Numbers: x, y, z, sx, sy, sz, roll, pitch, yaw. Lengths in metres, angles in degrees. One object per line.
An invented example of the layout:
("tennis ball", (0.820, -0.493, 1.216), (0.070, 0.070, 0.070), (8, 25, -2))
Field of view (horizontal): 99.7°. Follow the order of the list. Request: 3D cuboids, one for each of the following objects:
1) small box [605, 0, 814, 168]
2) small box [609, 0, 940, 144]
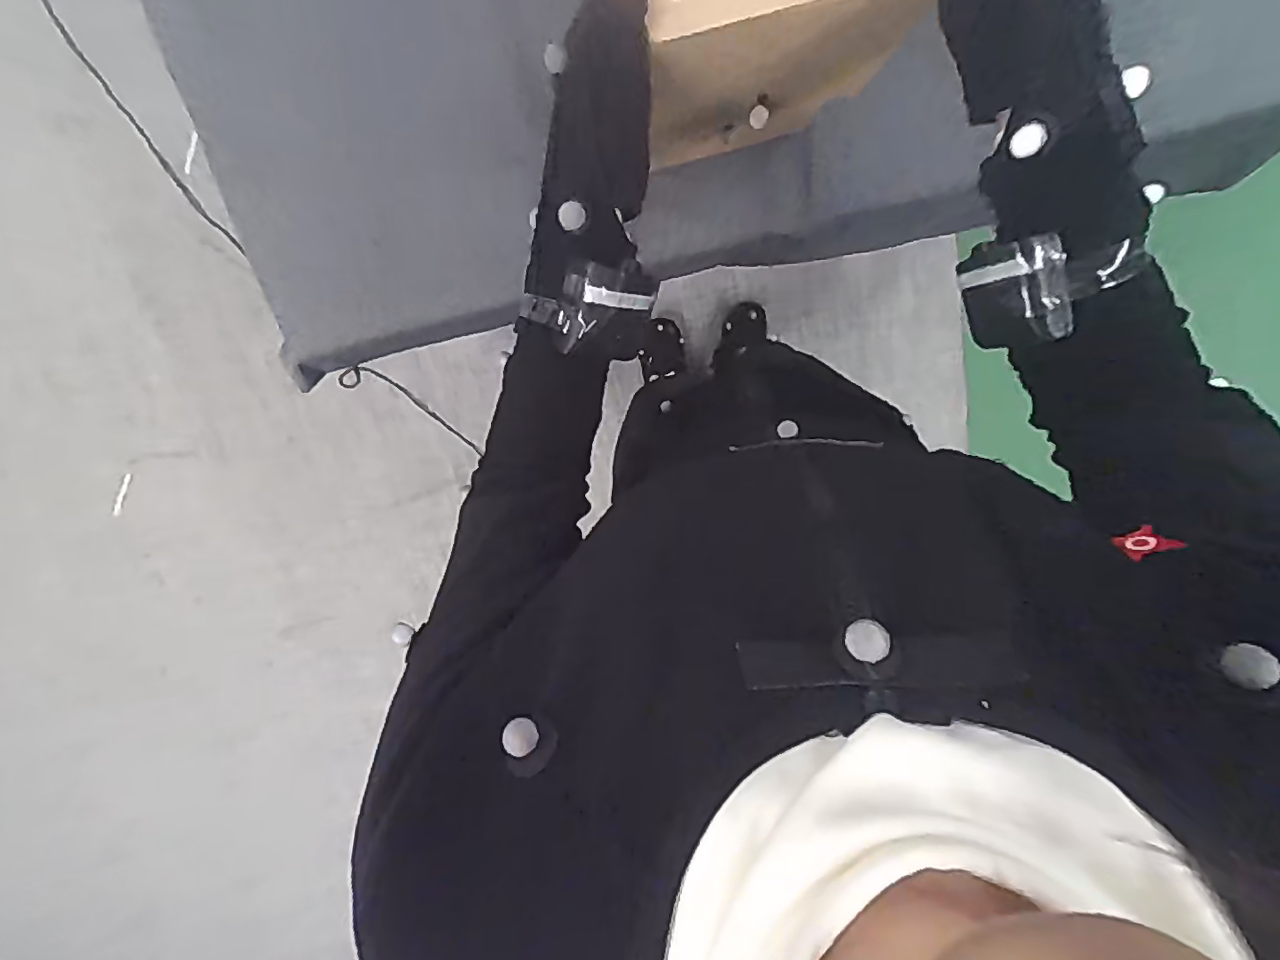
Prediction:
("small box", (0.065, -0.409, 0.488), (0.179, 0.176, 0.168), (-13, 106, 4))
("small box", (0.067, -0.343, 0.339), (0.179, 0.176, 0.168), (-14, 106, 4))
